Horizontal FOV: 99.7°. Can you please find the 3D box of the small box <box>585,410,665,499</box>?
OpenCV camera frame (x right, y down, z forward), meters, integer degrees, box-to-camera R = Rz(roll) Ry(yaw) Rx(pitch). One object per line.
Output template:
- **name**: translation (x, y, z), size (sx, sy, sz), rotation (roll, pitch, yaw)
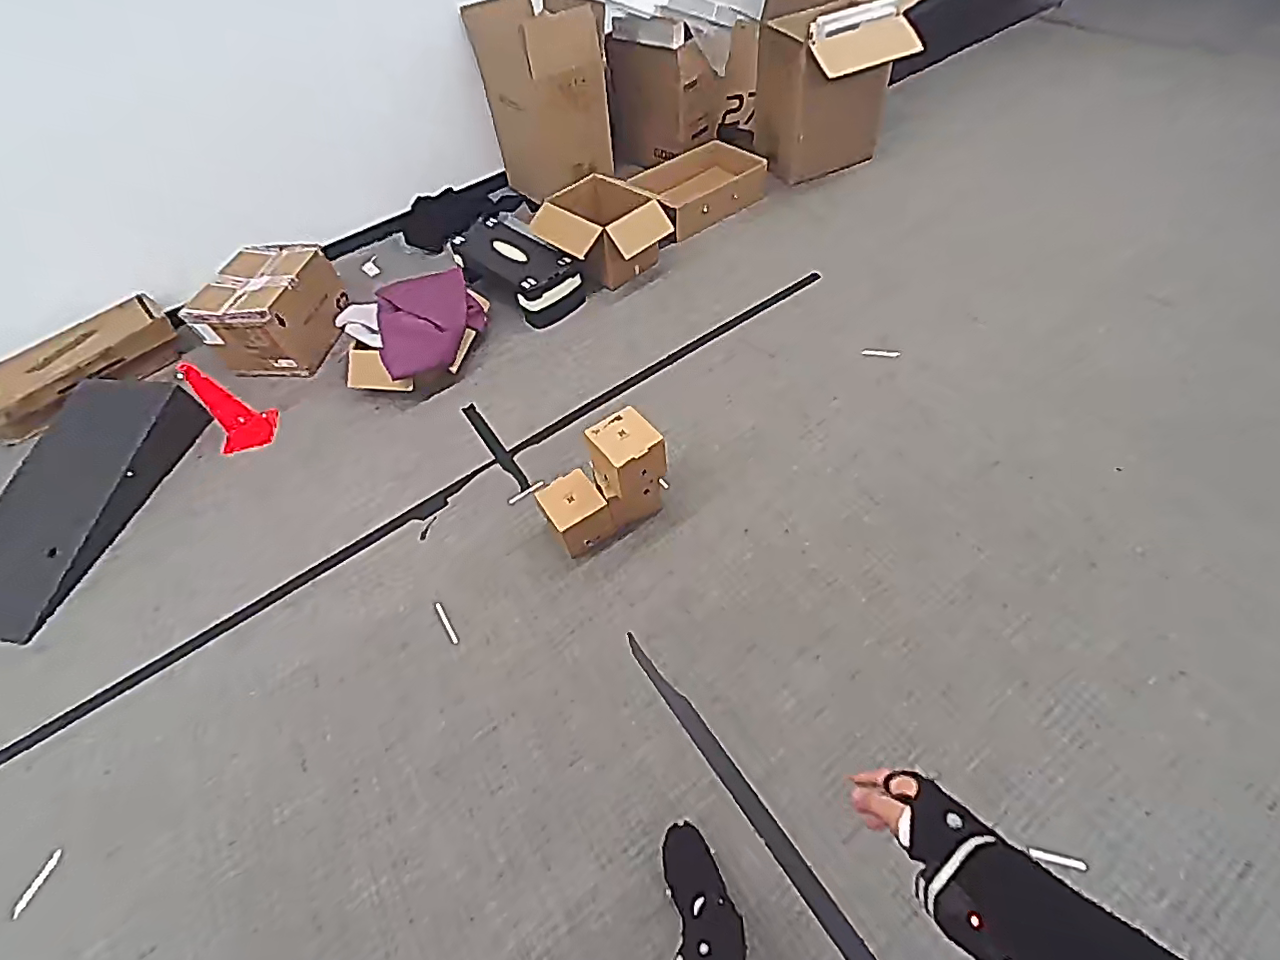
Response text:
- **small box**: translation (-0.038, -0.068, 1.598), size (0.168, 0.176, 0.179), rotation (-32, 57, -16)
